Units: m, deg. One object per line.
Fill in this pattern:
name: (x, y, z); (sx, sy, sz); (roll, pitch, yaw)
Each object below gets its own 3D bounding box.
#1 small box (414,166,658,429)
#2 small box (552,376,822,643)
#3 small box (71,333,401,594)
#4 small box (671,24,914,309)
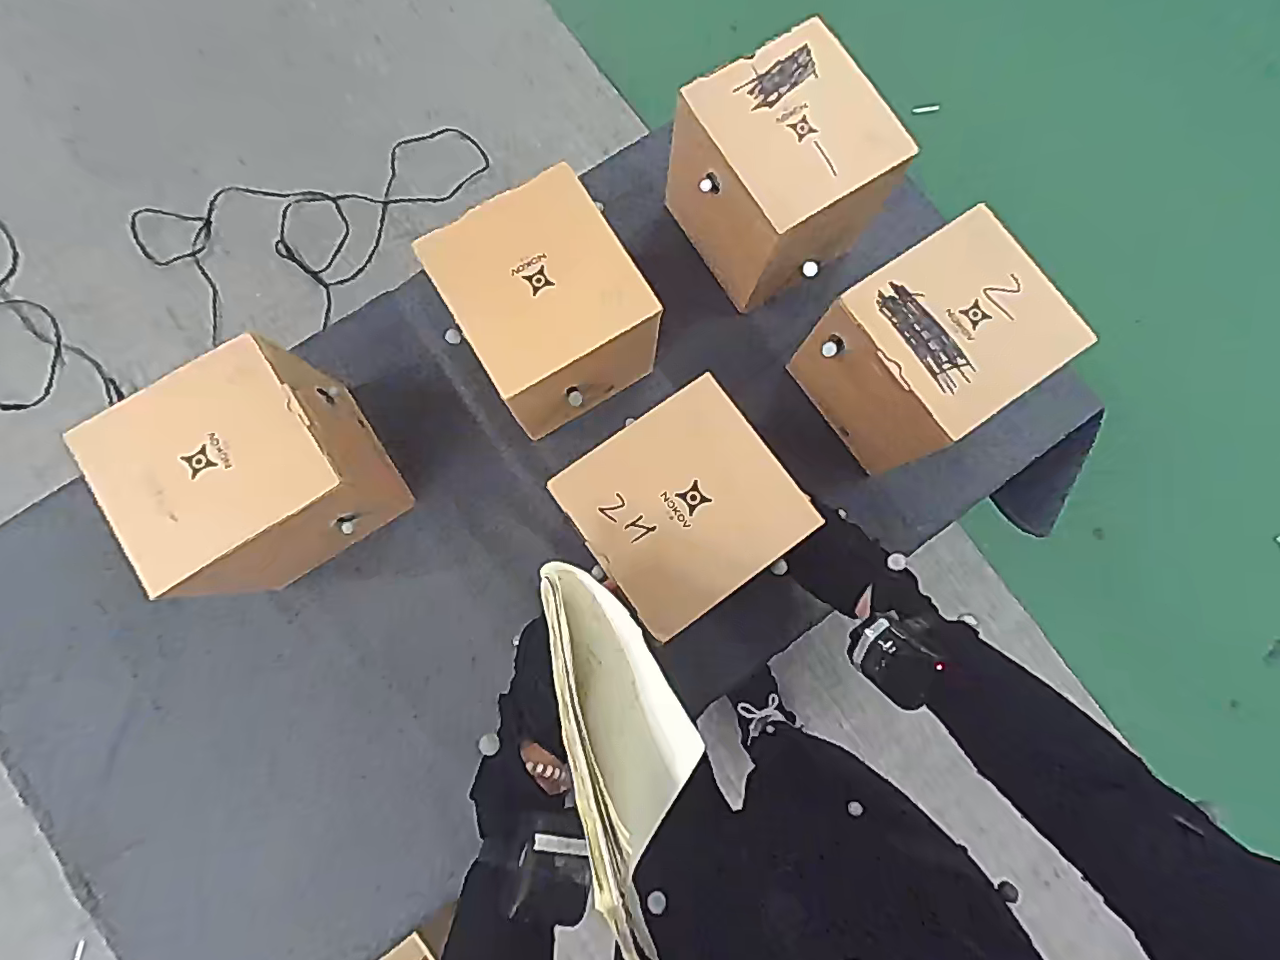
small box: (-0.095, -0.170, 0.568); (0.168, 0.176, 0.179); (-32, 83, -6)
small box: (0.038, 0.033, 0.533); (0.179, 0.176, 0.168); (-35, 81, -6)
small box: (-0.365, -0.007, 0.532); (0.179, 0.176, 0.168); (-32, 83, -7)
small box: (0.147, -0.327, 0.595); (0.168, 0.176, 0.179); (-32, 84, -5)
